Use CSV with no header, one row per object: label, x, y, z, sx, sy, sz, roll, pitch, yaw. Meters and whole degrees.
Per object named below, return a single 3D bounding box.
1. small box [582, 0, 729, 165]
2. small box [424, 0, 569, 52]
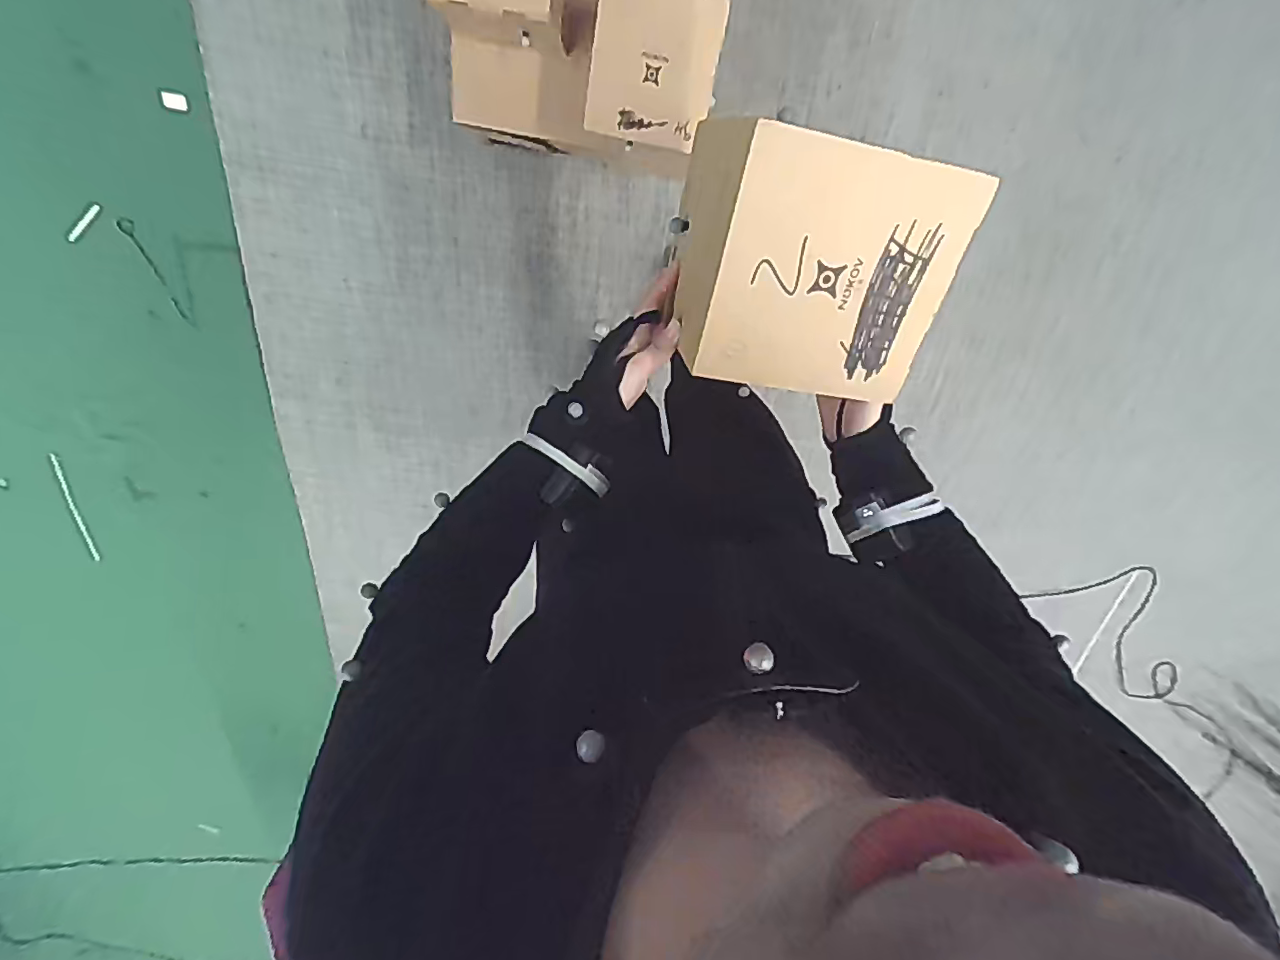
small box,0.016,-0.576,0.778,0.168,0.176,0.179,10,115,-5
small box,-0.183,-0.707,0.720,0.168,0.176,0.179,9,115,-3
